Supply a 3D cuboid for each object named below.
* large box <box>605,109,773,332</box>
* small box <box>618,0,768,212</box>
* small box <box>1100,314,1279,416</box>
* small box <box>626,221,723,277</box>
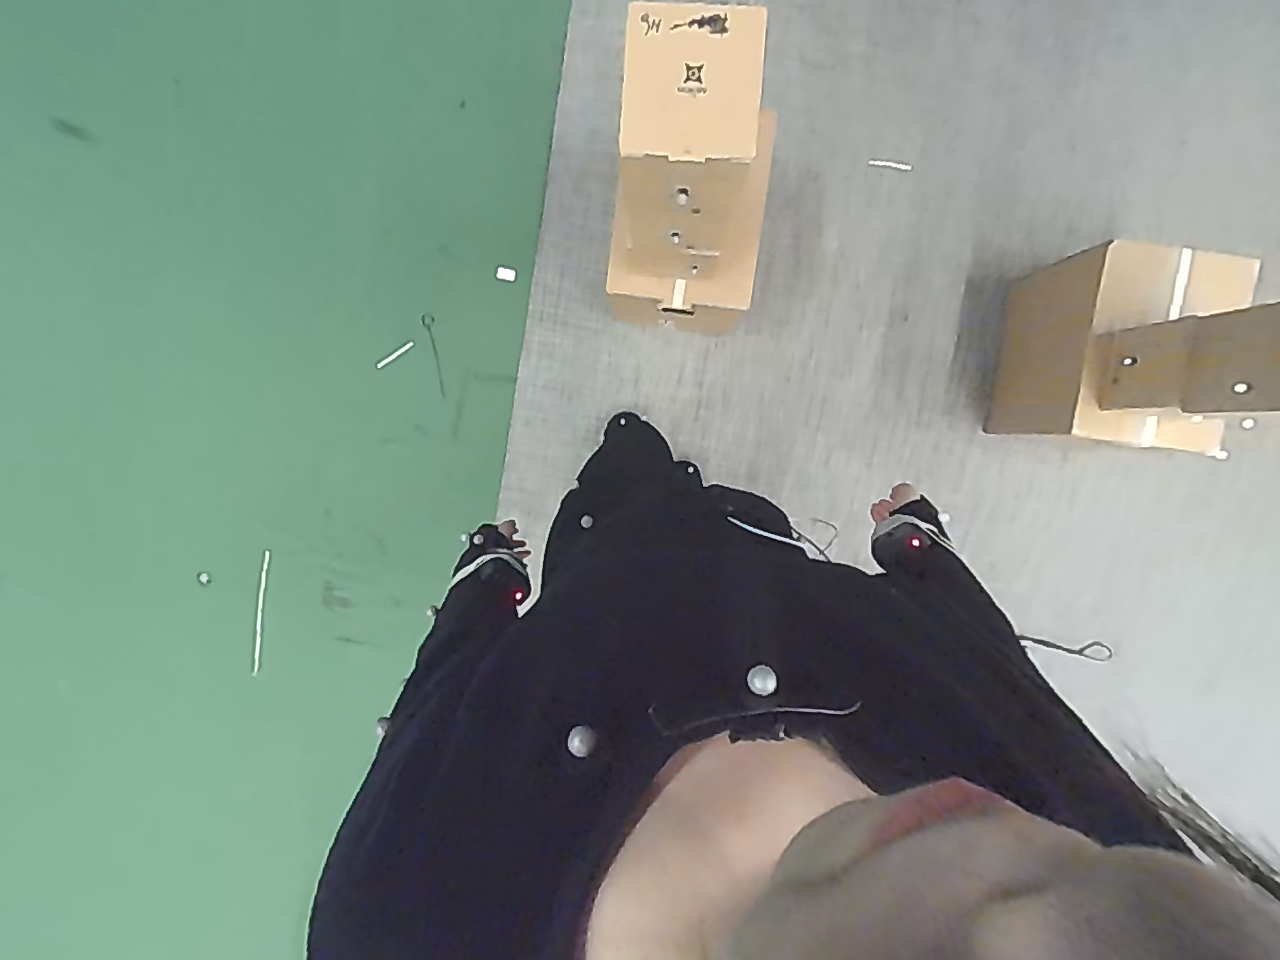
[{"bbox_3d":[0.106,-0.592,1.279,0.320,0.320,0.408,8,95,1],"label":"large box"},{"bbox_3d":[0.064,-0.476,0.716,0.168,0.176,0.179,4,96,1],"label":"small box"},{"bbox_3d":[1.056,-0.215,1.045,0.179,0.176,0.168,6,96,2],"label":"small box"},{"bbox_3d":[0.072,-0.502,1.044,0.179,0.176,0.168,7,95,2],"label":"small box"}]
